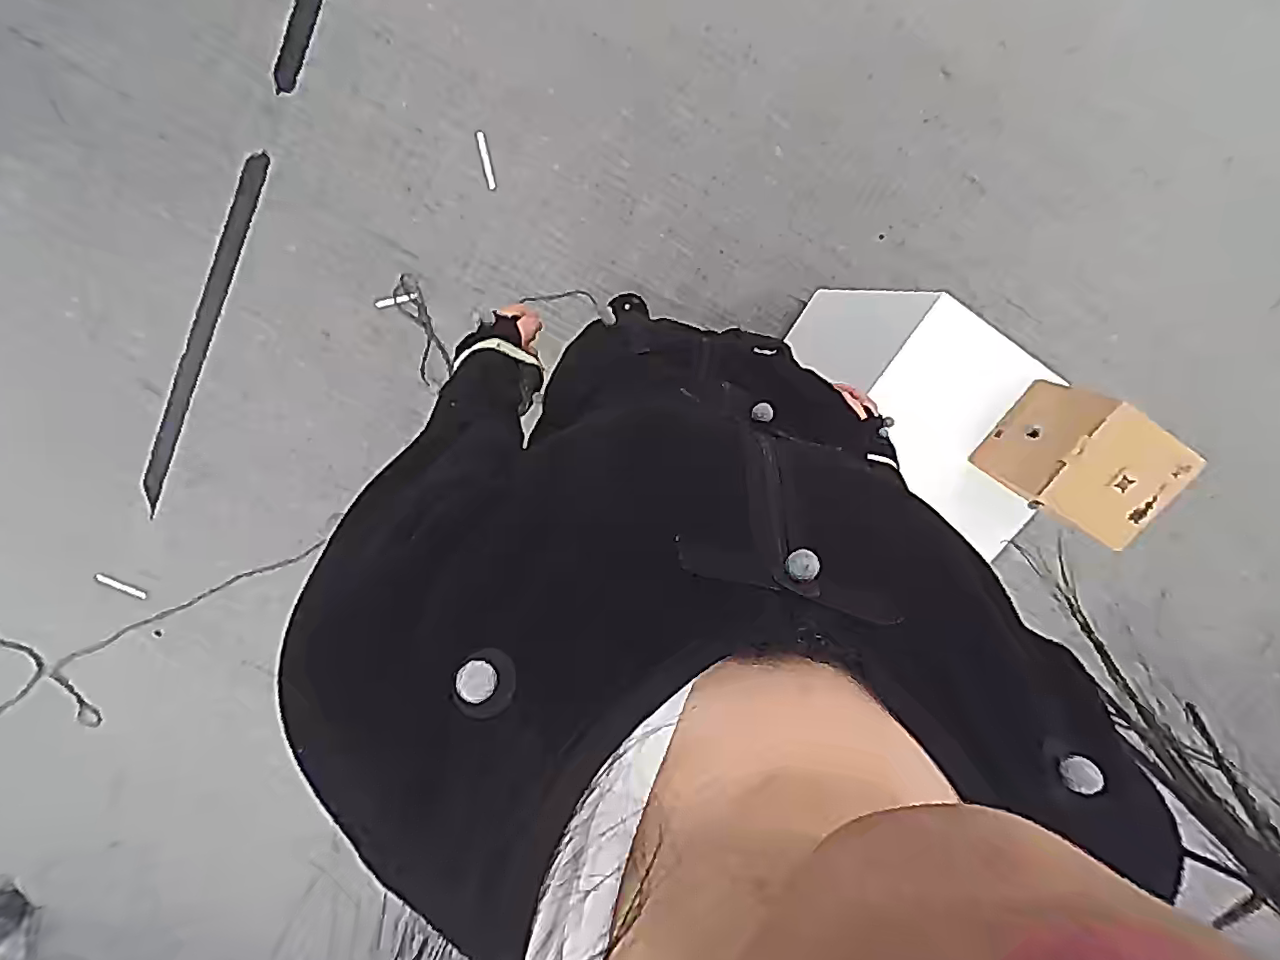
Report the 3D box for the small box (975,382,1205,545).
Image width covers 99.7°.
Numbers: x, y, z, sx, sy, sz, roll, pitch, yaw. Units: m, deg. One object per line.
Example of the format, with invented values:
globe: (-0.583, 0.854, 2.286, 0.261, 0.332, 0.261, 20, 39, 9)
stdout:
small box: (0.671, -0.036, 0.834, 0.179, 0.176, 0.168, 30, 108, -10)
